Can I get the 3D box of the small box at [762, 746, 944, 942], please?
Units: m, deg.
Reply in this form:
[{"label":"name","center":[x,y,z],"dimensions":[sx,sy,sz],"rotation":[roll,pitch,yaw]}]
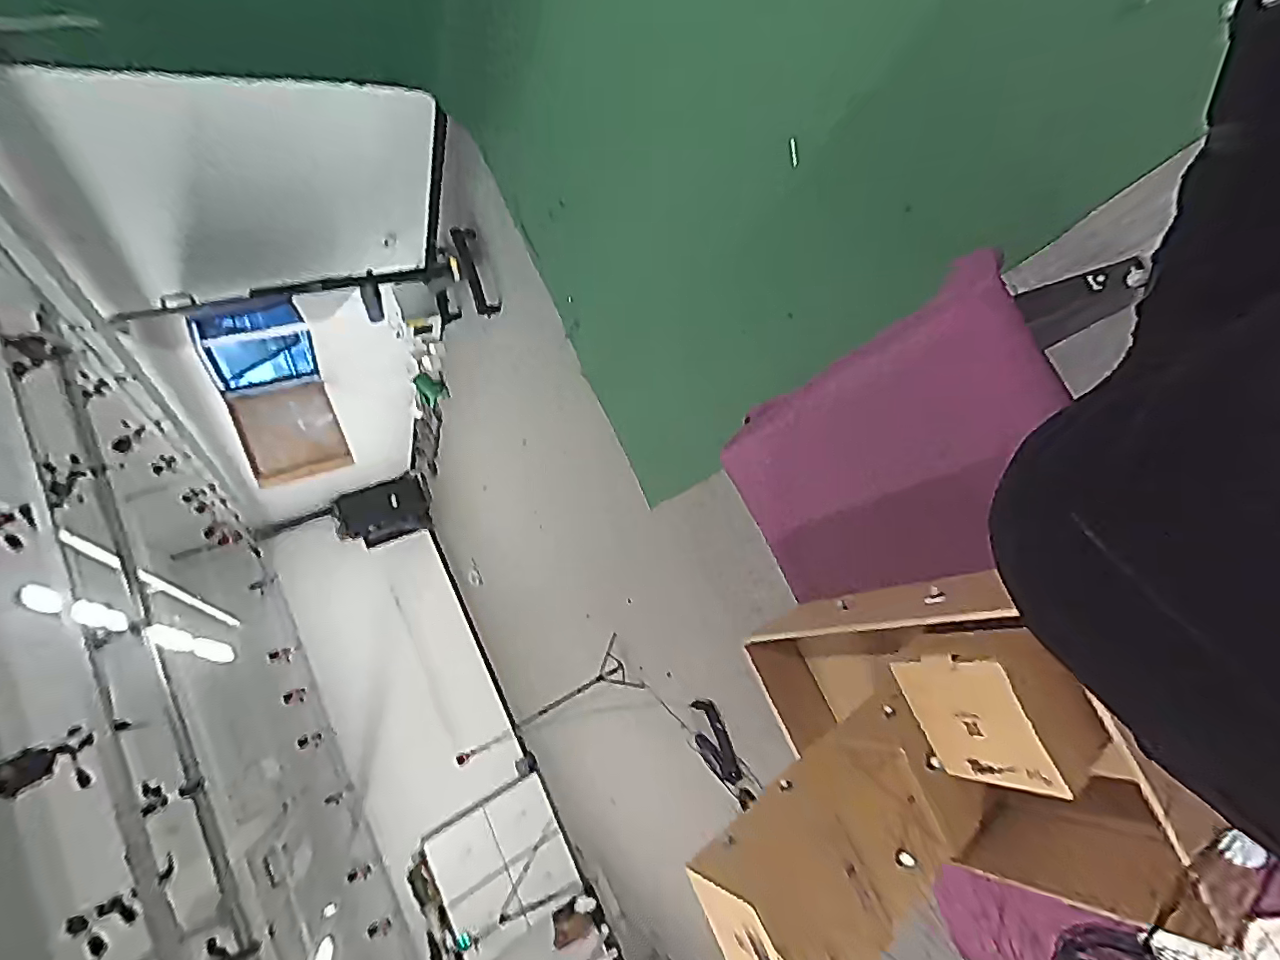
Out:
[{"label":"small box","center":[0.330,0.535,0.829],"dimensions":[0.179,0.176,0.168],"rotation":[-35,78,58]}]
